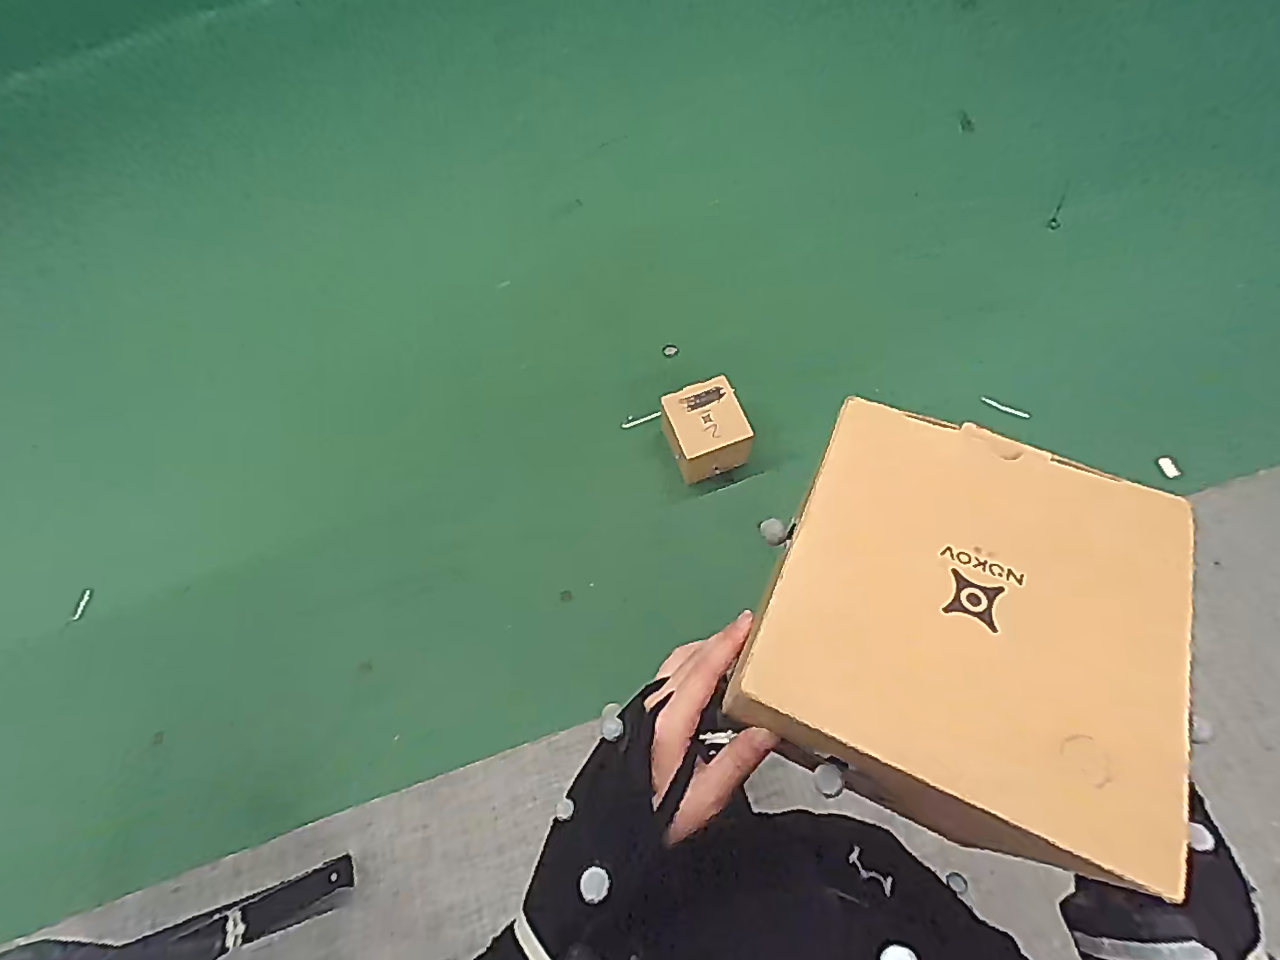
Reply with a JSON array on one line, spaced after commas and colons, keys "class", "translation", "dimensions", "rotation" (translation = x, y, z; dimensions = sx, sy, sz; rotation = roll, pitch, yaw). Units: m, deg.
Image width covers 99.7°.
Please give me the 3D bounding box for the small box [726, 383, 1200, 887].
[{"class": "small box", "translation": [0.155, 0.082, 0.309], "dimensions": [0.168, 0.176, 0.179], "rotation": [21, 64, 16]}]
